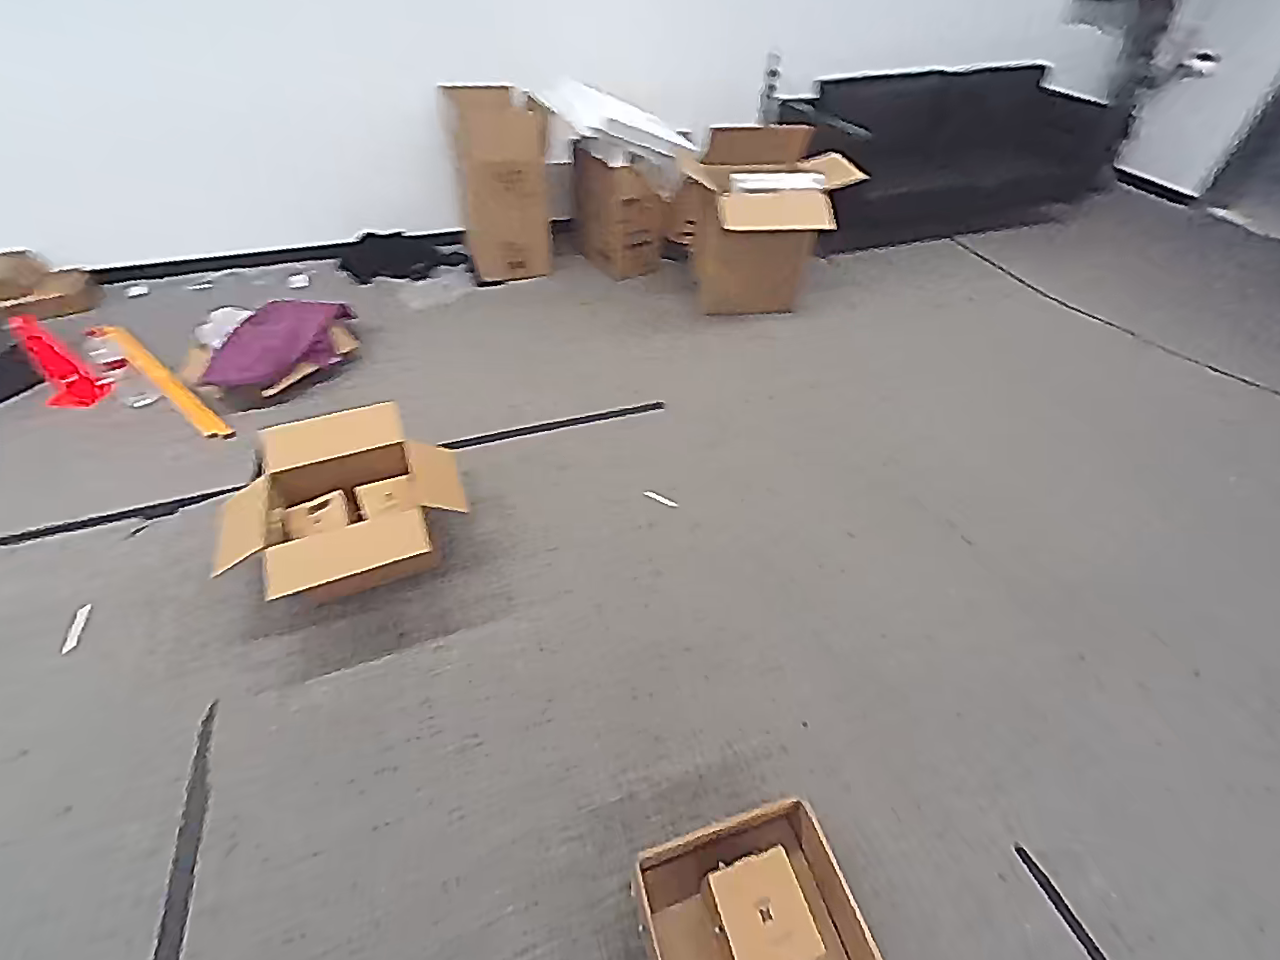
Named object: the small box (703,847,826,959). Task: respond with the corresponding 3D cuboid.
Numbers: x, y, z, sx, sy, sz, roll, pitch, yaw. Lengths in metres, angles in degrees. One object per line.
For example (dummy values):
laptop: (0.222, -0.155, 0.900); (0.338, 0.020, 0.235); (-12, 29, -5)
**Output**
small box: (0.235, 0.870, 1.074); (0.168, 0.176, 0.179); (-14, 50, -12)
